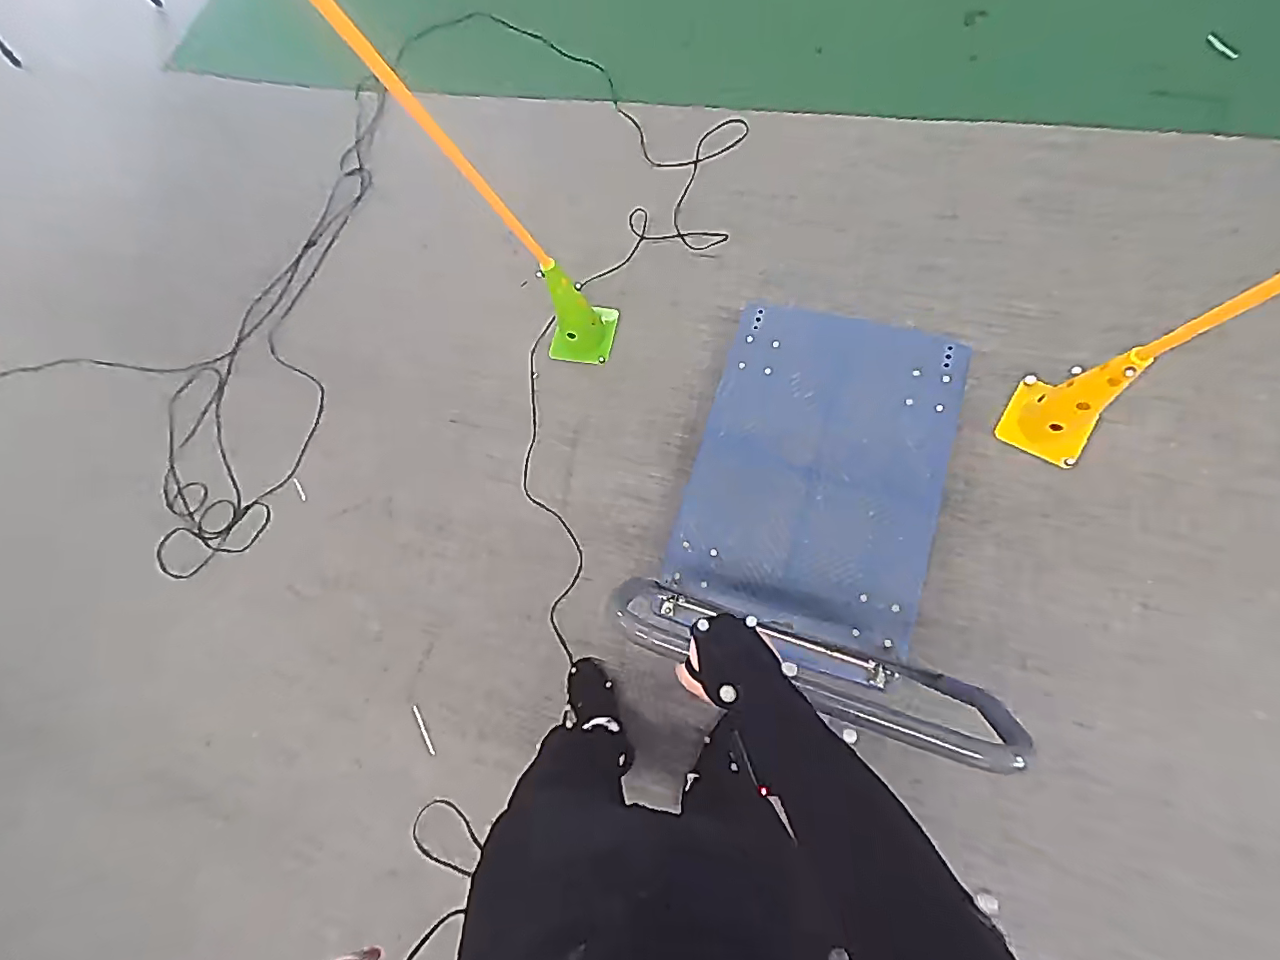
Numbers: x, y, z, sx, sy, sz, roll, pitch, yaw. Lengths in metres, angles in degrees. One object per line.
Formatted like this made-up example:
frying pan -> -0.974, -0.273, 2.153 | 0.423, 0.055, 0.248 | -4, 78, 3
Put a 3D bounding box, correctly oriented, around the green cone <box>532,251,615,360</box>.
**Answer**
green cone -> -0.222, -0.527, 1.562 | 0.202, 0.368, 0.200 | 9, 75, 14
